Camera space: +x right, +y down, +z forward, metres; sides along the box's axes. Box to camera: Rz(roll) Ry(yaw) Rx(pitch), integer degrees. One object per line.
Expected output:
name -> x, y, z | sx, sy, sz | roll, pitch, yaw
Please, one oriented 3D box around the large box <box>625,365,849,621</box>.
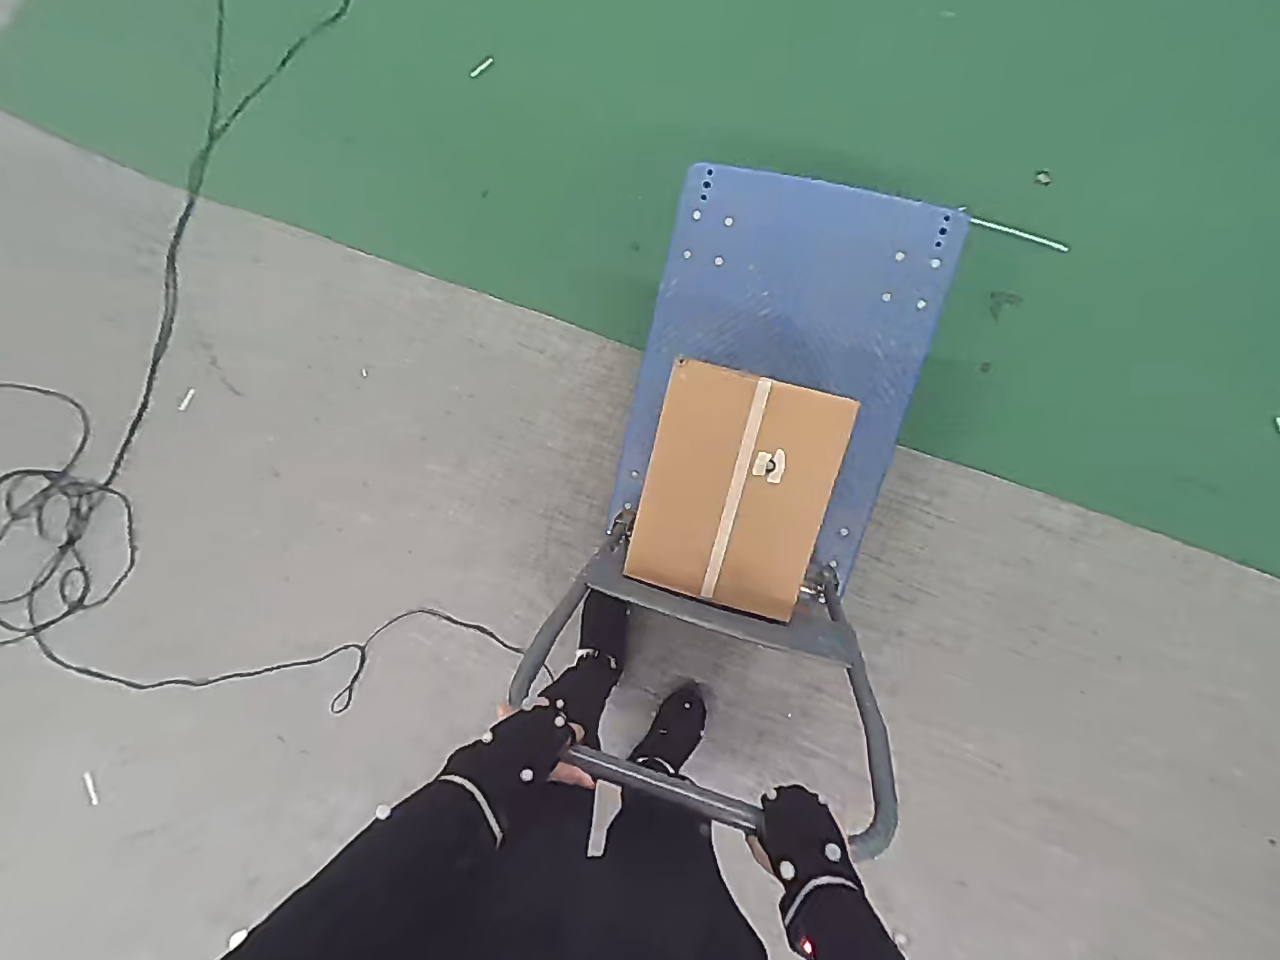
large box -> 0.186, 0.007, 1.093 | 0.320, 0.320, 0.408 | 15, 101, 7
